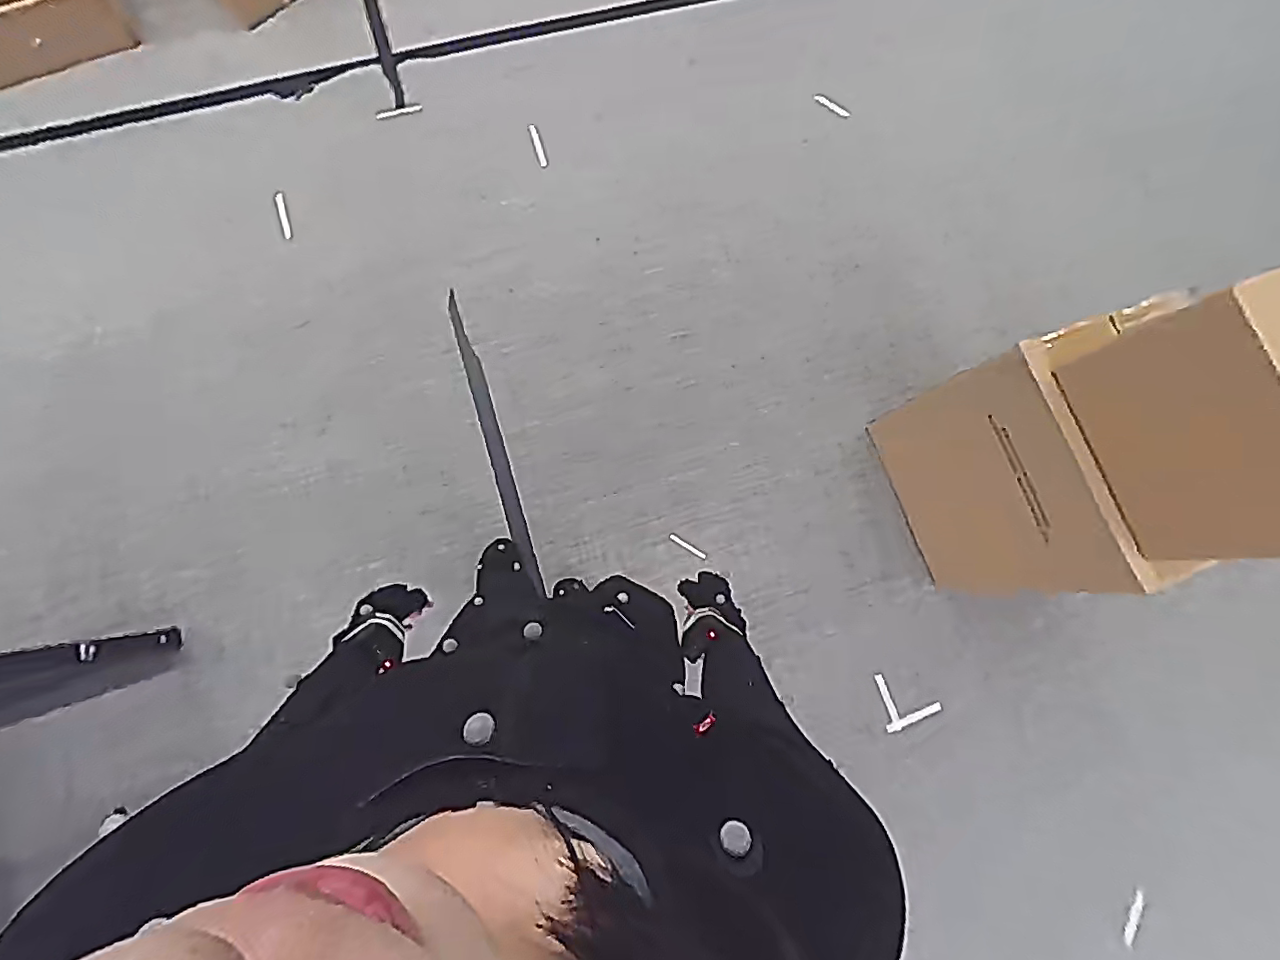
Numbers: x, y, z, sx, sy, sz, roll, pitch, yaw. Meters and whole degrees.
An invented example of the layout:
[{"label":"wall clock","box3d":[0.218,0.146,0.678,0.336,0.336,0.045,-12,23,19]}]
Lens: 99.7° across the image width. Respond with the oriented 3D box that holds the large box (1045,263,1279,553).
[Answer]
[{"label":"large box","box3d":[1.015,-0.119,0.917,0.320,0.320,0.408,-20,83,-7]}]
